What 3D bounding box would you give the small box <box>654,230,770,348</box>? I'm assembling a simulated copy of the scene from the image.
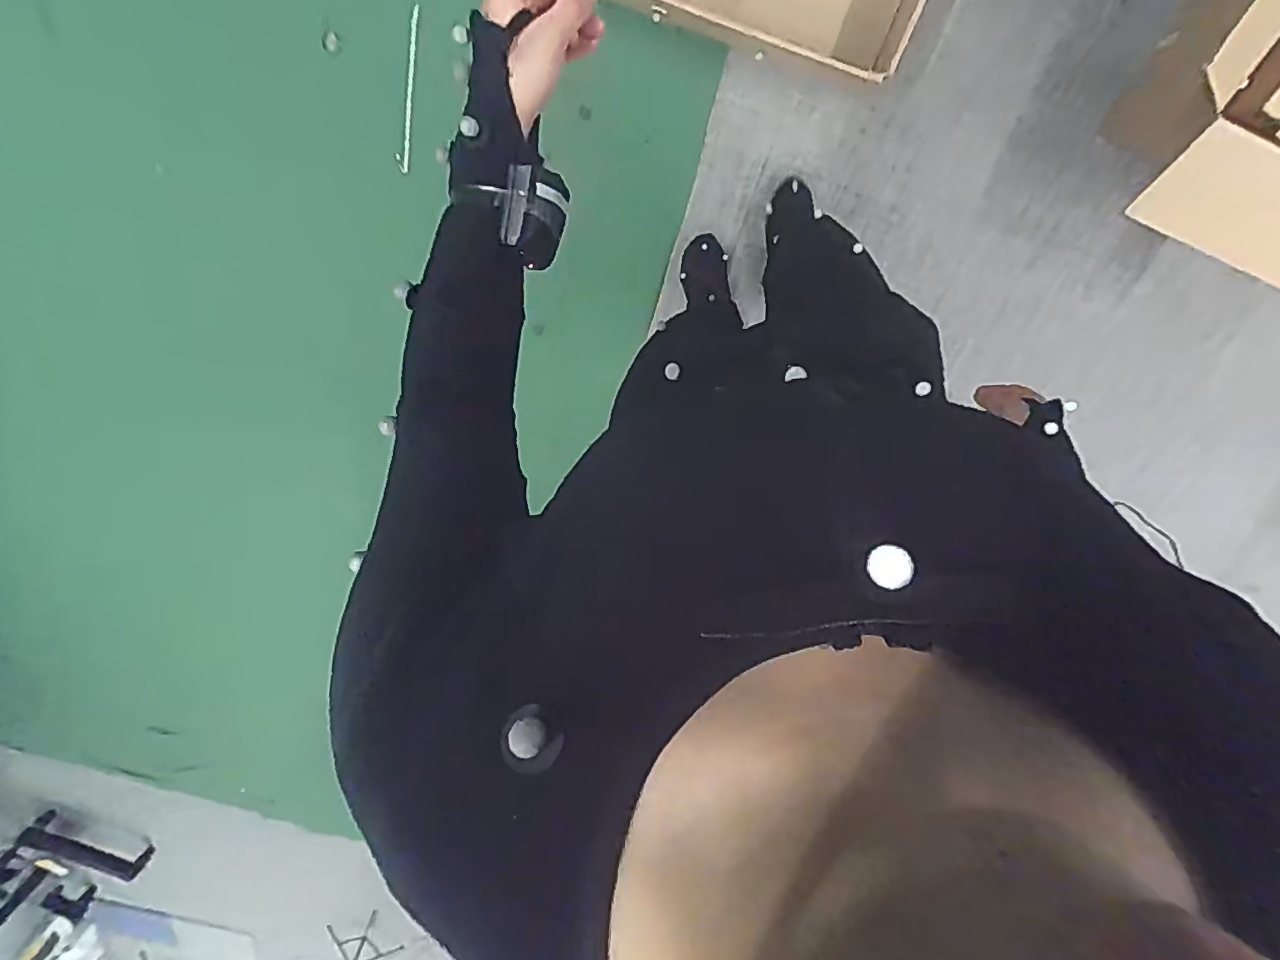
[{"bbox_3d":[0.173,-0.436,1.240,0.176,0.168,0.179,33,94,-43],"label":"small box"}]
